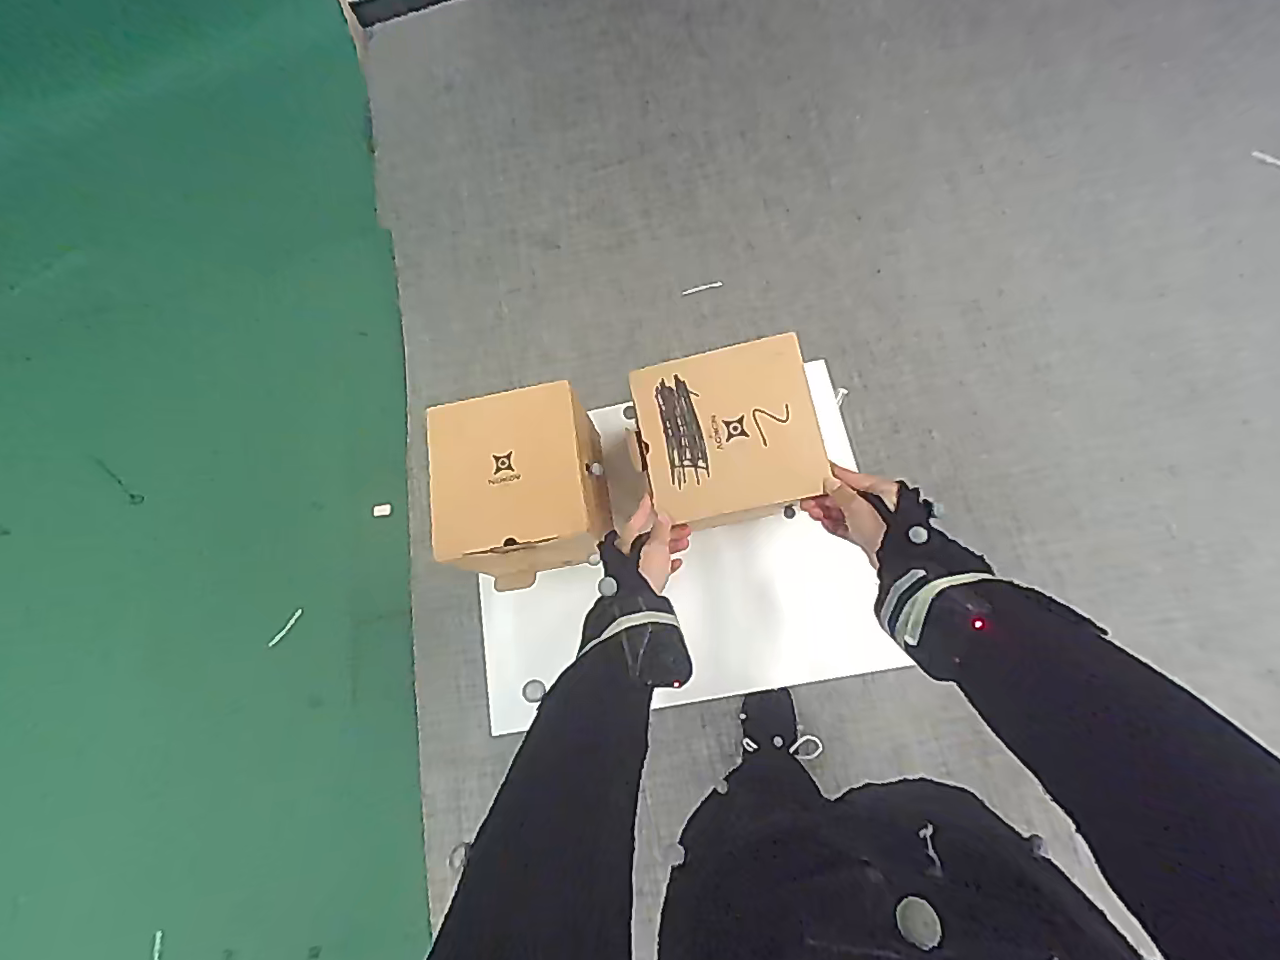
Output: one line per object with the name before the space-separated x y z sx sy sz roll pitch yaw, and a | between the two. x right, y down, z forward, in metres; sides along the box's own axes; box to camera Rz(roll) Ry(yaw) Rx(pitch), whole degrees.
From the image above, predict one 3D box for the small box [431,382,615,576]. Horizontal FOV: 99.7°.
small box | -0.131 0.009 0.646 0.168 0.176 0.179 -11 74 4
